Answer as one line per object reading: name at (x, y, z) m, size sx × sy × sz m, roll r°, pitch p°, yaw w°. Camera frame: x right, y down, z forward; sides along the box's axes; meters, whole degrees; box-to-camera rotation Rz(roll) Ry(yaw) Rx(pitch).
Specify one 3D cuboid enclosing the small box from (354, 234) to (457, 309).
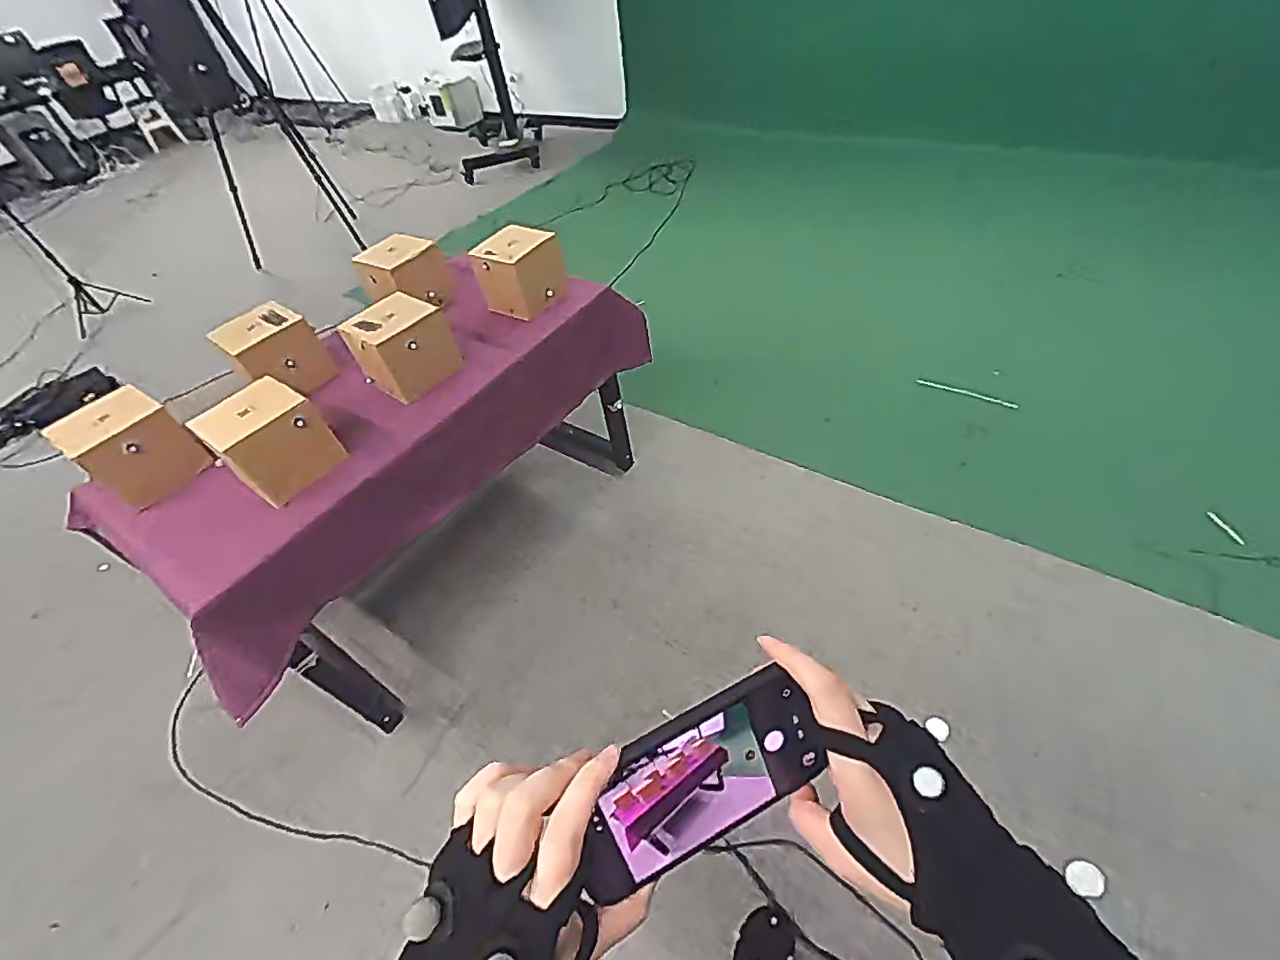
small box at (-0.658, -0.570, 1.533) m, size 0.179 × 0.176 × 0.168 m, roll 22°, pitch 56°, yaw 25°

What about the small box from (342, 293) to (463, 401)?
small box at (-0.558, -0.316, 1.291) m, size 0.168 × 0.176 × 0.179 m, roll 27°, pitch 57°, yaw 29°

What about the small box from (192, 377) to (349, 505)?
small box at (-0.747, -0.078, 1.111) m, size 0.168 × 0.176 × 0.179 m, roll 25°, pitch 56°, yaw 28°

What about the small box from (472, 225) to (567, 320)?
small box at (-0.318, -0.565, 1.472) m, size 0.168 × 0.176 × 0.179 m, roll 23°, pitch 56°, yaw 27°
